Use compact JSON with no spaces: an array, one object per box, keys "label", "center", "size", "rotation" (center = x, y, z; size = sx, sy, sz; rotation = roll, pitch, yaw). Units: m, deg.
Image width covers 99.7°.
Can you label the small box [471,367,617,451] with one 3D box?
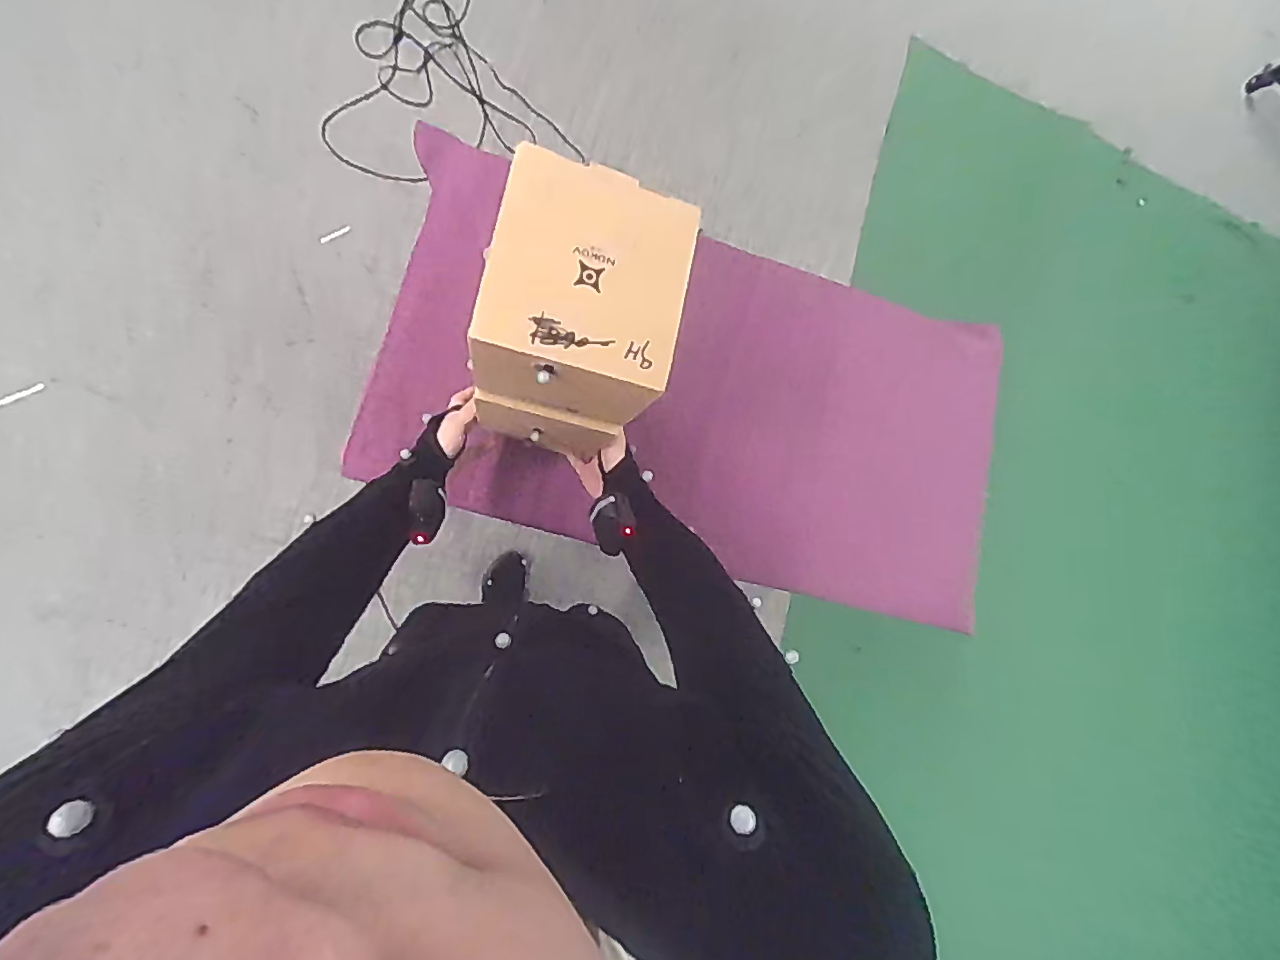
[{"label":"small box","center":[-0.106,-0.144,0.687],"size":[0.168,0.176,0.179],"rotation":[14,81,-13]}]

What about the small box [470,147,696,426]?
[{"label":"small box","center":[-0.062,-0.168,0.531],"size":[0.168,0.176,0.179],"rotation":[13,81,-12]}]
